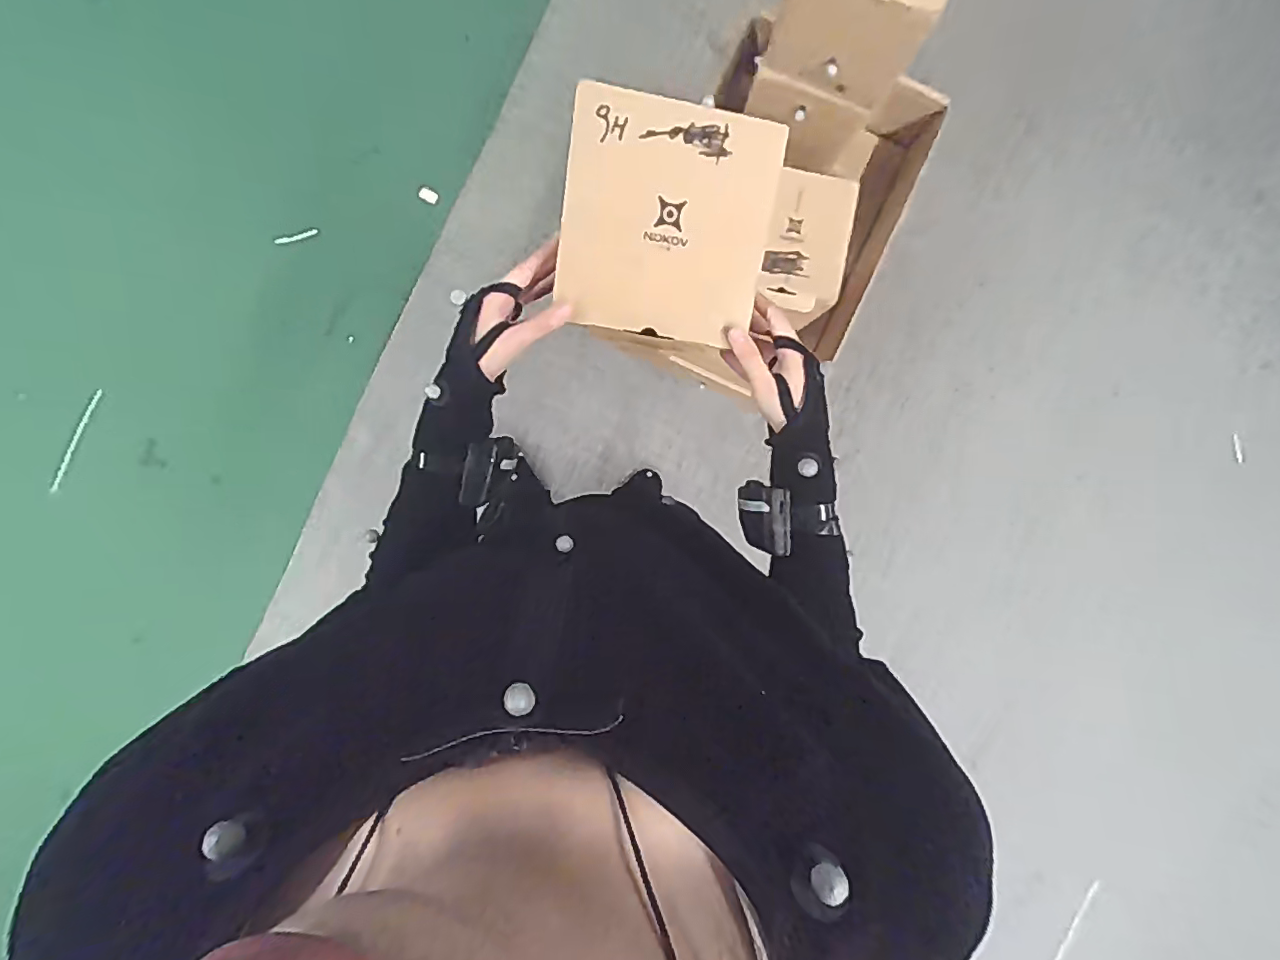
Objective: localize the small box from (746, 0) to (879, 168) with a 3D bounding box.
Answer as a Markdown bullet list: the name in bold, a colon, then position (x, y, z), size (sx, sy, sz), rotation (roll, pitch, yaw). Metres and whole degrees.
- **small box**: position (0.277, -0.620, 0.834), size (0.179, 0.176, 0.168), rotation (20, 93, 0)

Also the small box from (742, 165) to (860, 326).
- **small box**: position (0.215, -0.356, 0.847), size (0.168, 0.176, 0.179), rotation (11, 92, -3)

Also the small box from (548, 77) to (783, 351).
- **small box**: position (0.012, -0.231, 0.508), size (0.168, 0.176, 0.179), rotation (8, 108, -8)

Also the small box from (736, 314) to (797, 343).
- **small box**: position (0.211, -0.367, 1.011), size (0.168, 0.176, 0.179), rotation (11, 92, -2)

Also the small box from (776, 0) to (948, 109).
- **small box**: position (0.287, -0.619, 0.669), size (0.168, 0.176, 0.179), rotation (22, 93, 0)
